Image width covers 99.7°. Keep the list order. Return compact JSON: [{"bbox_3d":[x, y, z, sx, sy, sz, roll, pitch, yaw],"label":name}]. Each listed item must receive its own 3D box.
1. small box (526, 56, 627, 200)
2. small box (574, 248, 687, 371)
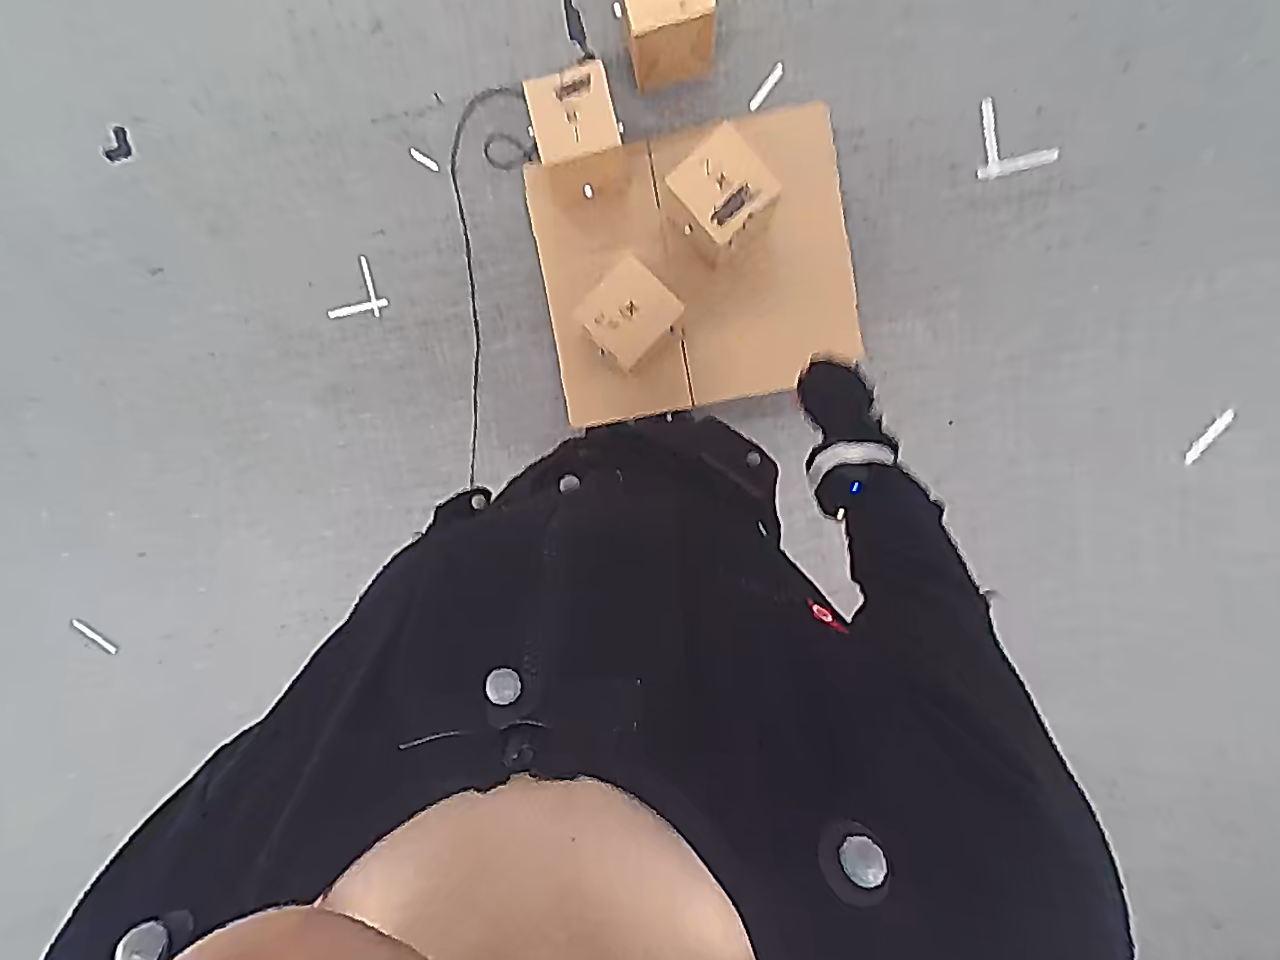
[{"bbox_3d":[-0.128,-0.735,1.146,0.168,0.176,0.179,-13,91,3],"label":"small box"},{"bbox_3d":[-0.019,-0.360,1.178,0.168,0.176,0.179,44,95,-2],"label":"small box"}]
